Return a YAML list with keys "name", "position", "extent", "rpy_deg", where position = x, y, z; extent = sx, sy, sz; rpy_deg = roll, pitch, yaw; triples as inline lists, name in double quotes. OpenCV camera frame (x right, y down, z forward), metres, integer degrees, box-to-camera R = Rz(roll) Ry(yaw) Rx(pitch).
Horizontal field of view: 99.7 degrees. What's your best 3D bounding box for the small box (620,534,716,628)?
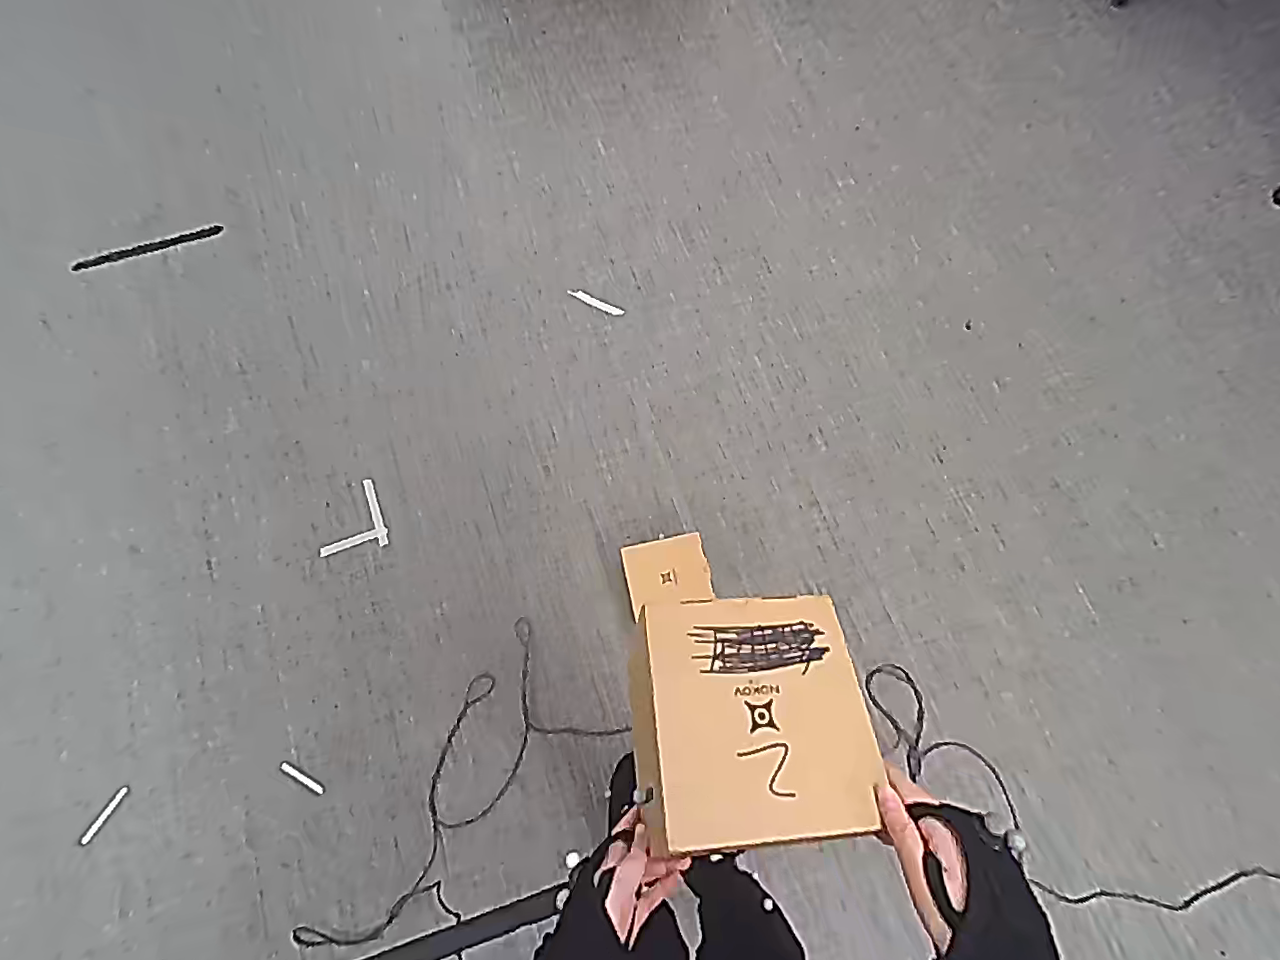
- name: "small box"
  position: [0.057, 0.230, 1.205]
  extent: [0.179, 0.176, 0.168]
  rpy_deg: [-12, 74, -5]
